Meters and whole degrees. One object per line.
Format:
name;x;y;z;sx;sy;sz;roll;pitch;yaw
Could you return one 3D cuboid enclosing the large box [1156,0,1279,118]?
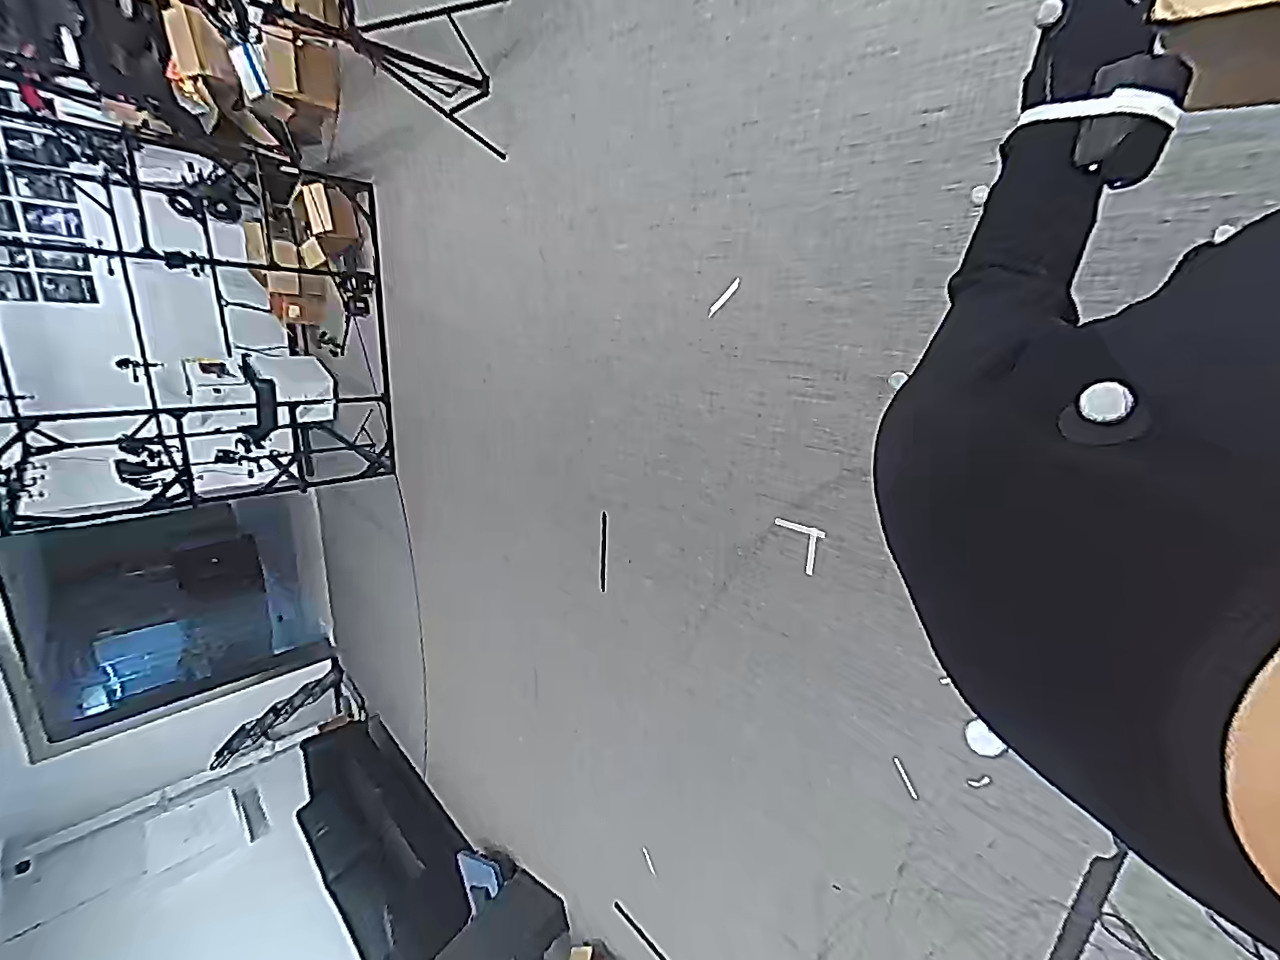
large box;0.588;-0.420;0.274;0.408;0.320;0.320;23;121;41
